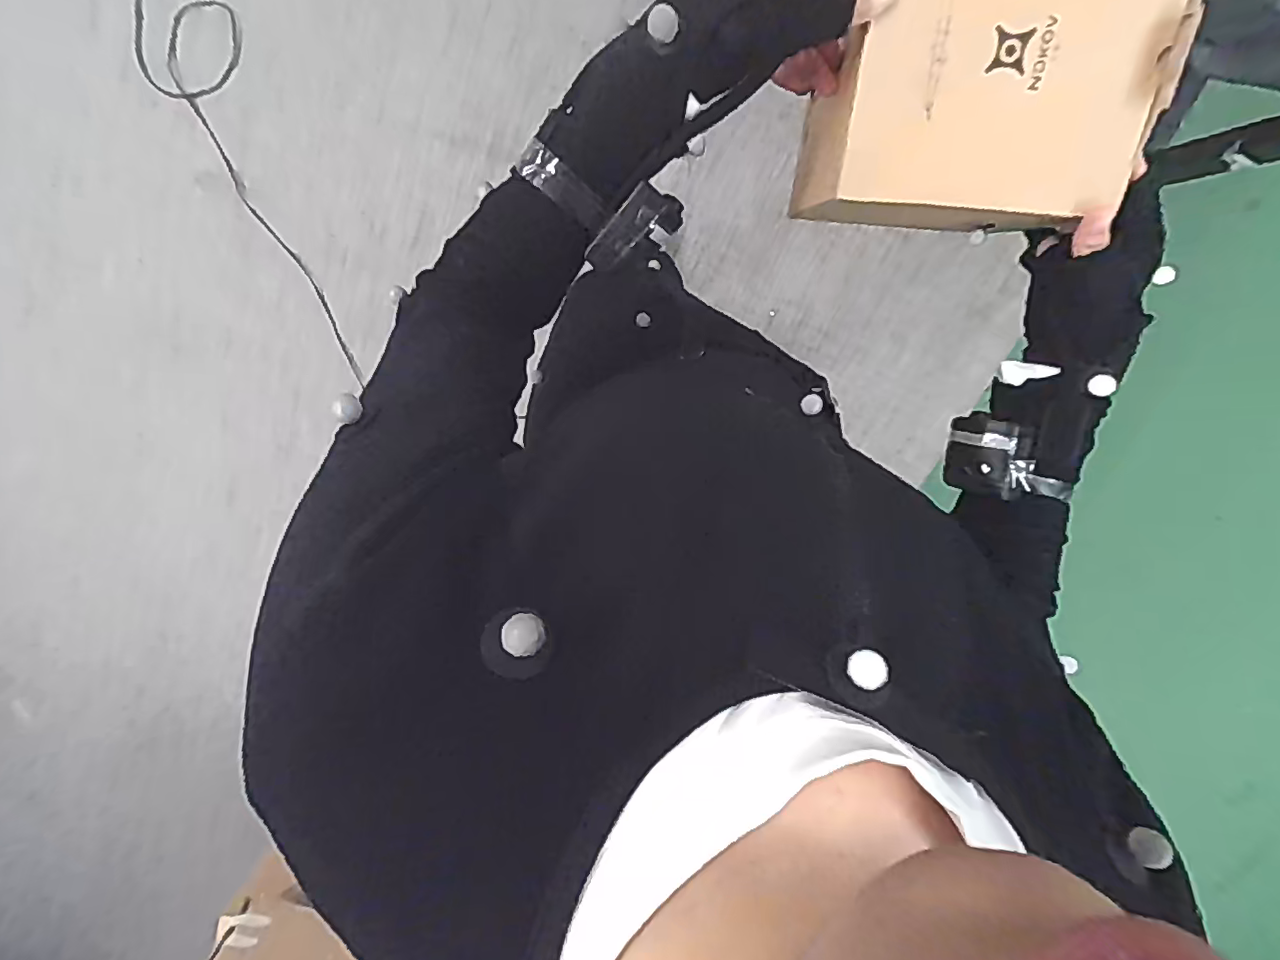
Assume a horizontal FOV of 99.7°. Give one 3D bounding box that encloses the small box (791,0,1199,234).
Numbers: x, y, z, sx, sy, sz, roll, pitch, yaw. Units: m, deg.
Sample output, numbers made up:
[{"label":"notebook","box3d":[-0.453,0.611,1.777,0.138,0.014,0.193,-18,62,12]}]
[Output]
[{"label":"small box","box3d":[0.220,-0.272,0.380,0.179,0.176,0.168,5,111,3]}]
